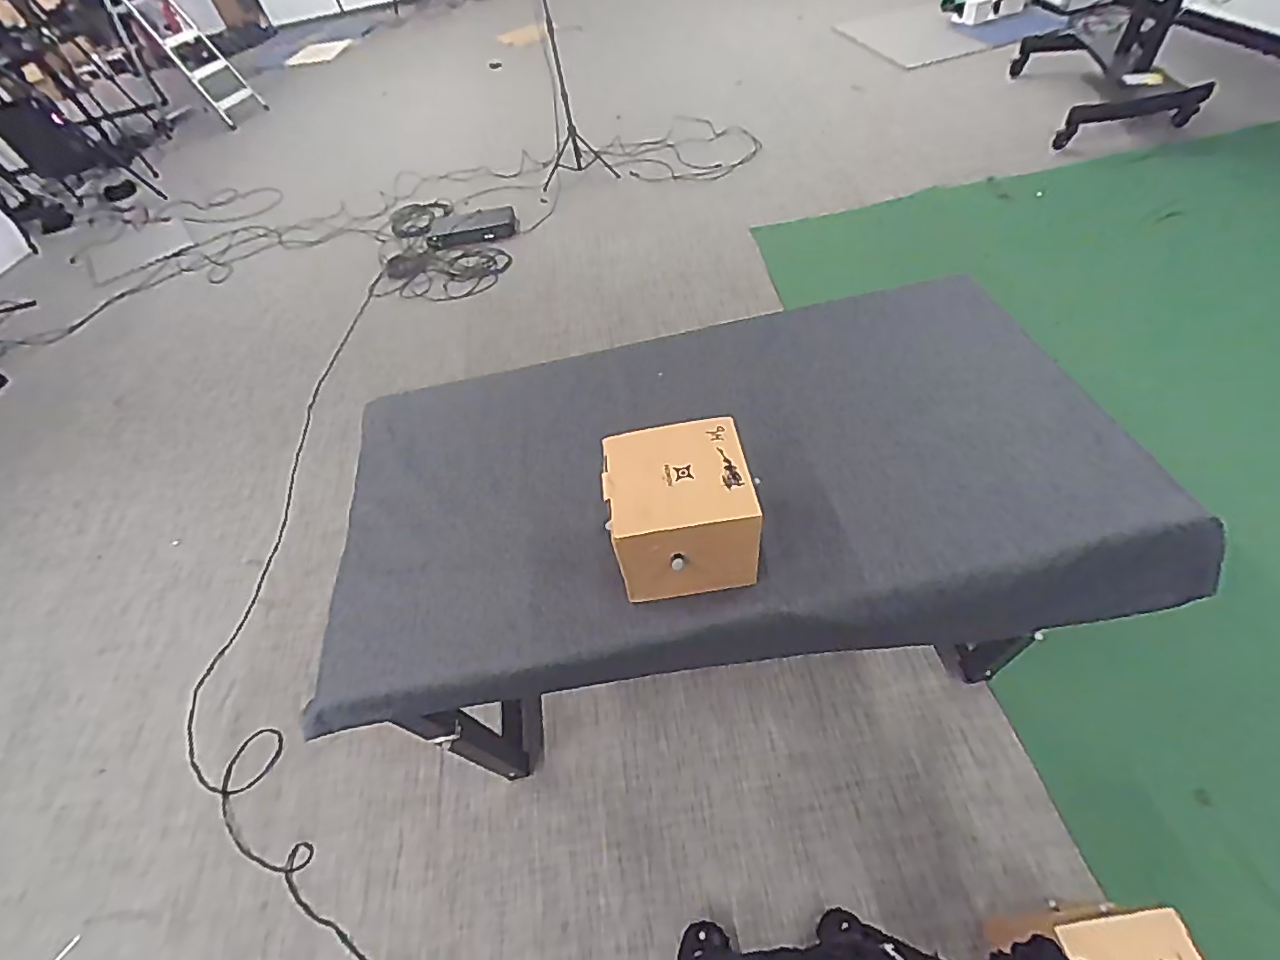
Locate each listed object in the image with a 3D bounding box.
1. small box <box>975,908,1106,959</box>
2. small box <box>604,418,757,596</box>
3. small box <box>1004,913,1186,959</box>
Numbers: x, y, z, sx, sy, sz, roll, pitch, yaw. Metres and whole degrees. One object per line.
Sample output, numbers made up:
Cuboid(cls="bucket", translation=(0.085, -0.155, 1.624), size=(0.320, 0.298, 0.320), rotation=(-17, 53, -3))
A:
Cuboid(cls="small box", translation=(0.724, 0.854, 0.930), size=(0.179, 0.176, 0.168), rotation=(-12, 51, 1))
Cuboid(cls="small box", translation=(0.054, 0.043, 0.731), size=(0.179, 0.176, 0.168), rotation=(-9, 51, 3))
Cuboid(cls="small box", translation=(0.692, 0.757, 0.801), size=(0.179, 0.176, 0.168), rotation=(-10, 50, 2))
